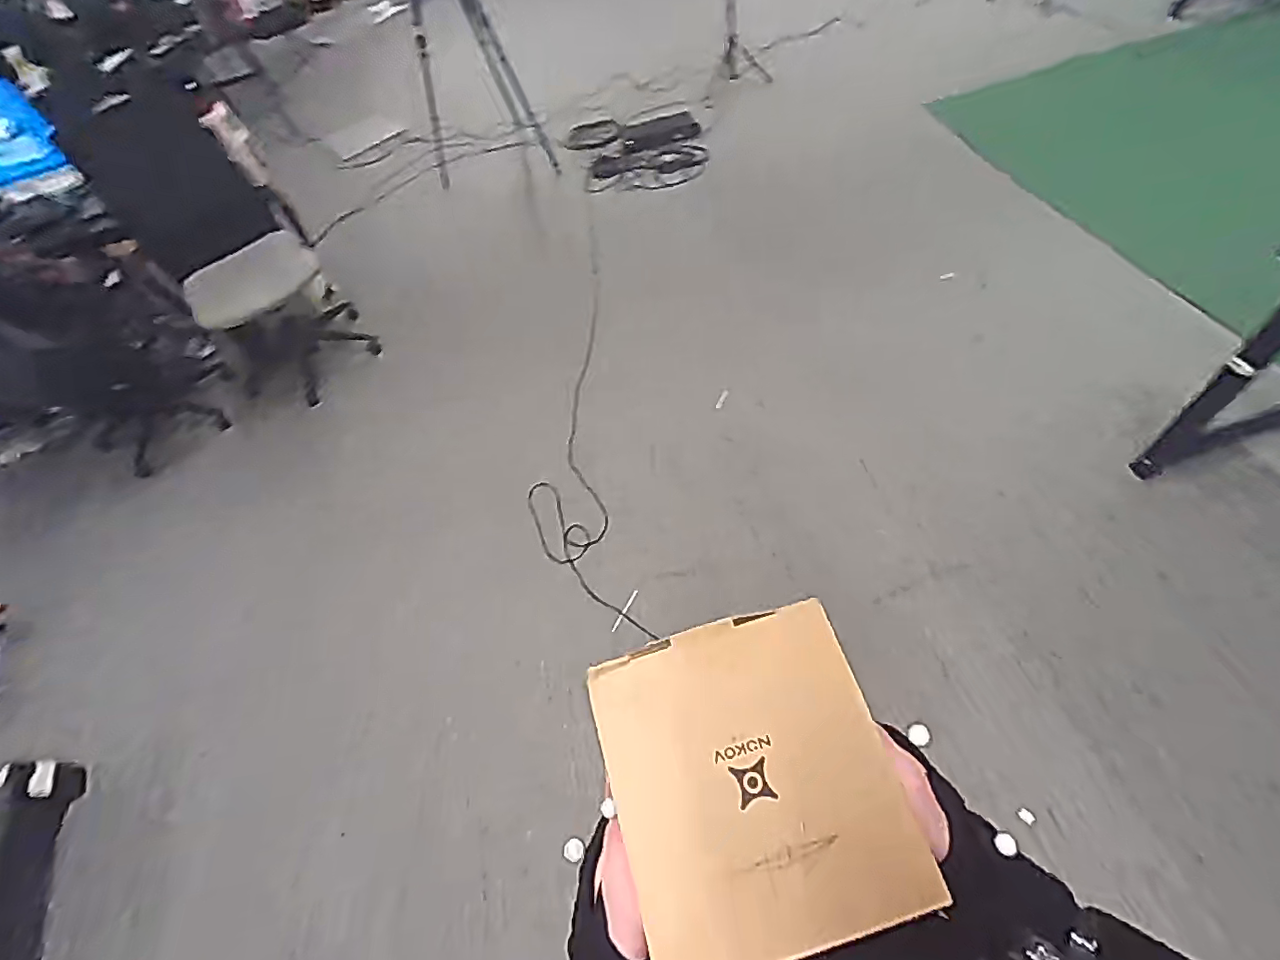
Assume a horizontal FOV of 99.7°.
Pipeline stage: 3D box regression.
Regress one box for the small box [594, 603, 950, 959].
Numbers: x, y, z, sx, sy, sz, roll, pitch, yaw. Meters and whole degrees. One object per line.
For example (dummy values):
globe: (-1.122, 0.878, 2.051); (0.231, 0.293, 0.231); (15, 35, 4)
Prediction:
small box: (0.072, 0.211, 0.392); (0.168, 0.176, 0.179); (-16, 65, -3)
